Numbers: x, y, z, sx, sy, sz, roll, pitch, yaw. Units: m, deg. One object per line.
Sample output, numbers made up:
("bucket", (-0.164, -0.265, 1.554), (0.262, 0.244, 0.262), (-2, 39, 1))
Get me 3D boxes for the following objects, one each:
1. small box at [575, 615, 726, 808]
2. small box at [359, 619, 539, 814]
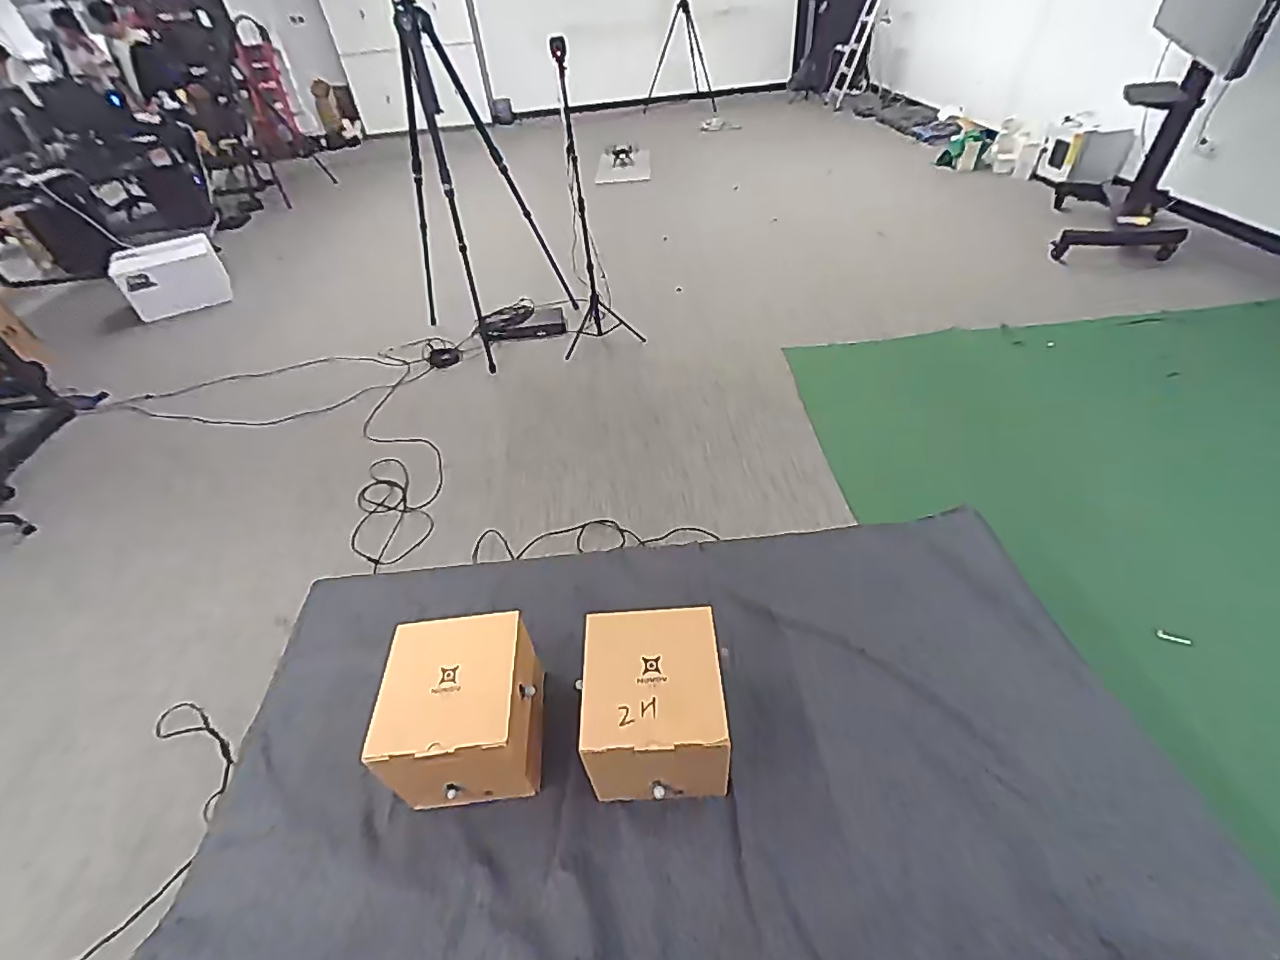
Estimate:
("small box", (0.015, 0.296, 0.695), (0.168, 0.176, 0.179), (-4, 43, 2))
("small box", (-0.232, 0.310, 0.711), (0.168, 0.176, 0.179), (-6, 43, -1))
